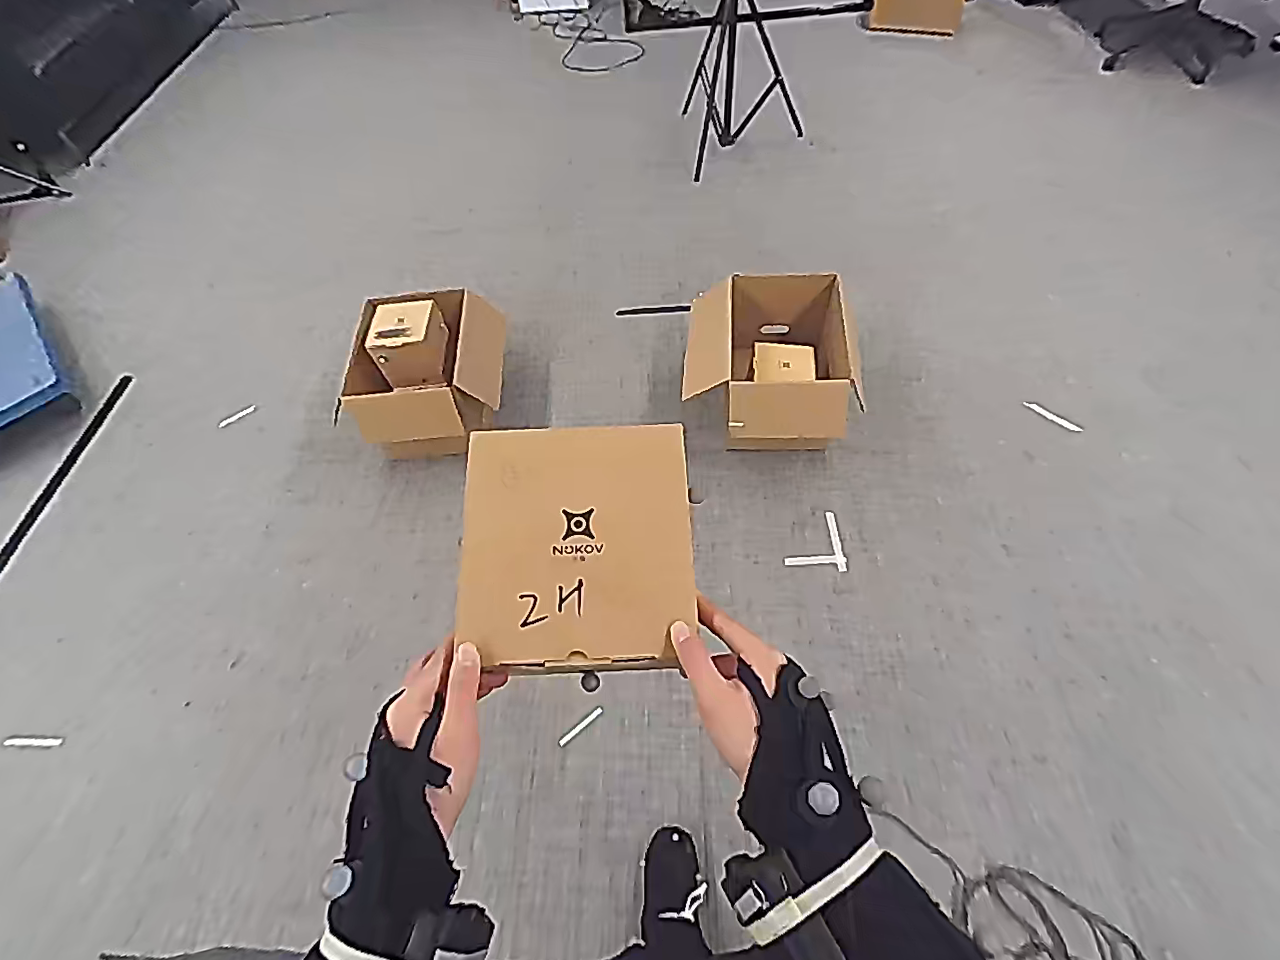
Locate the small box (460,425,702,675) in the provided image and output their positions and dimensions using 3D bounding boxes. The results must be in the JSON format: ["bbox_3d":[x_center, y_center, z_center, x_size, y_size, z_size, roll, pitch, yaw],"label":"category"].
[{"bbox_3d":[-0.043,0.069,0.468,0.168,0.176,0.179,-2,68,-1],"label":"small box"}]
